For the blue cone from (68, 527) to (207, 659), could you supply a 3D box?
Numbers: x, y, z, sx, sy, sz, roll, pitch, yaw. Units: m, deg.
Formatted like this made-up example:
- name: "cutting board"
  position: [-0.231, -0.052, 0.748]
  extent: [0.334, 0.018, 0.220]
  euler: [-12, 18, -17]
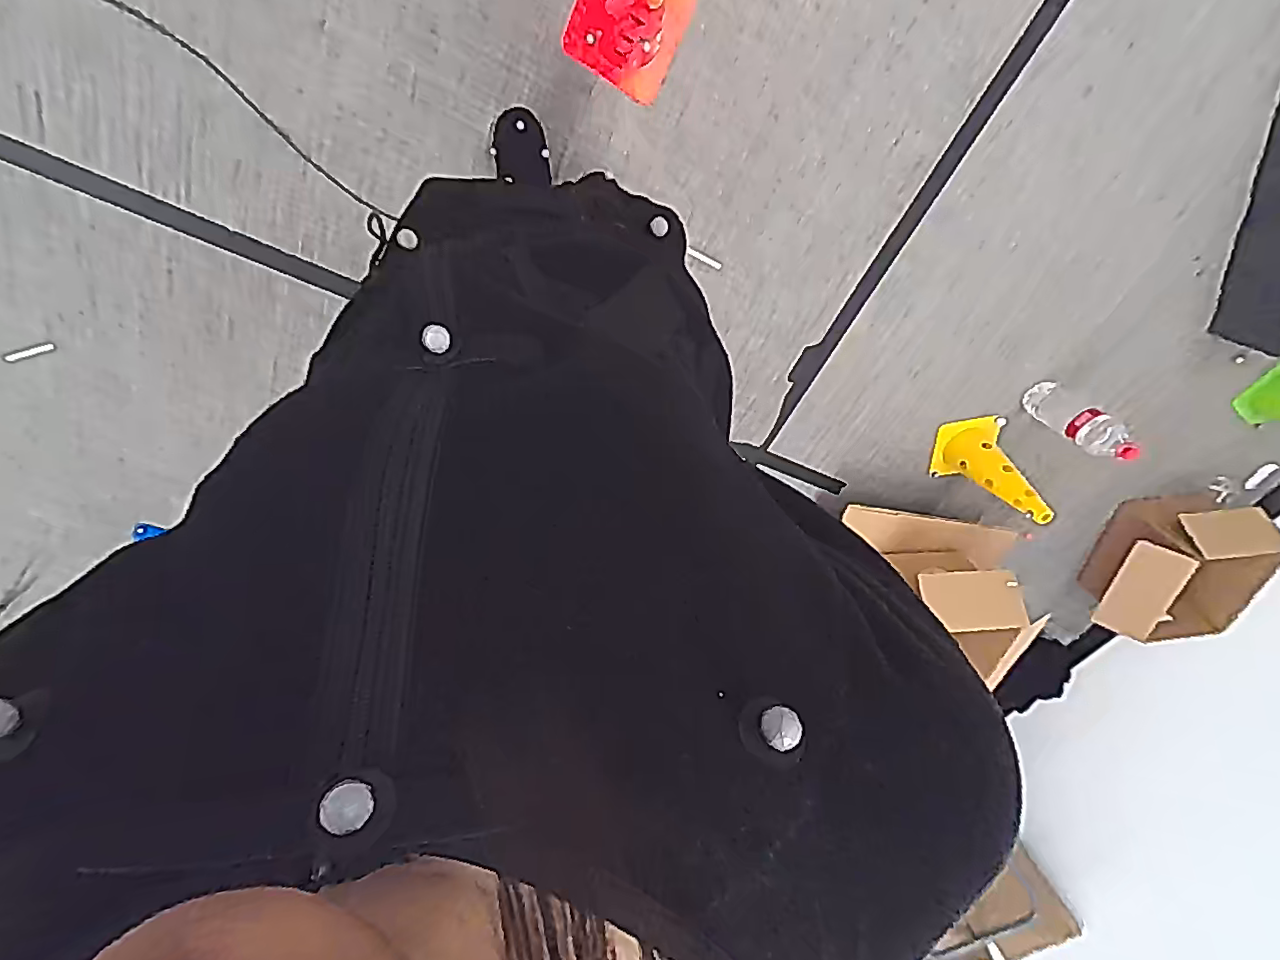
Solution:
- name: "blue cone"
  position: [-1.378, 0.320, 1.465]
  extent: [0.192, 0.380, 0.193]
  euler: [23, 119, -21]

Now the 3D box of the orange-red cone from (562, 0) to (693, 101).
- name: "orange-red cone"
  position: [-0.003, -0.759, 0.870]
  extent: [0.199, 0.360, 0.198]
  euler: [22, 119, -22]
